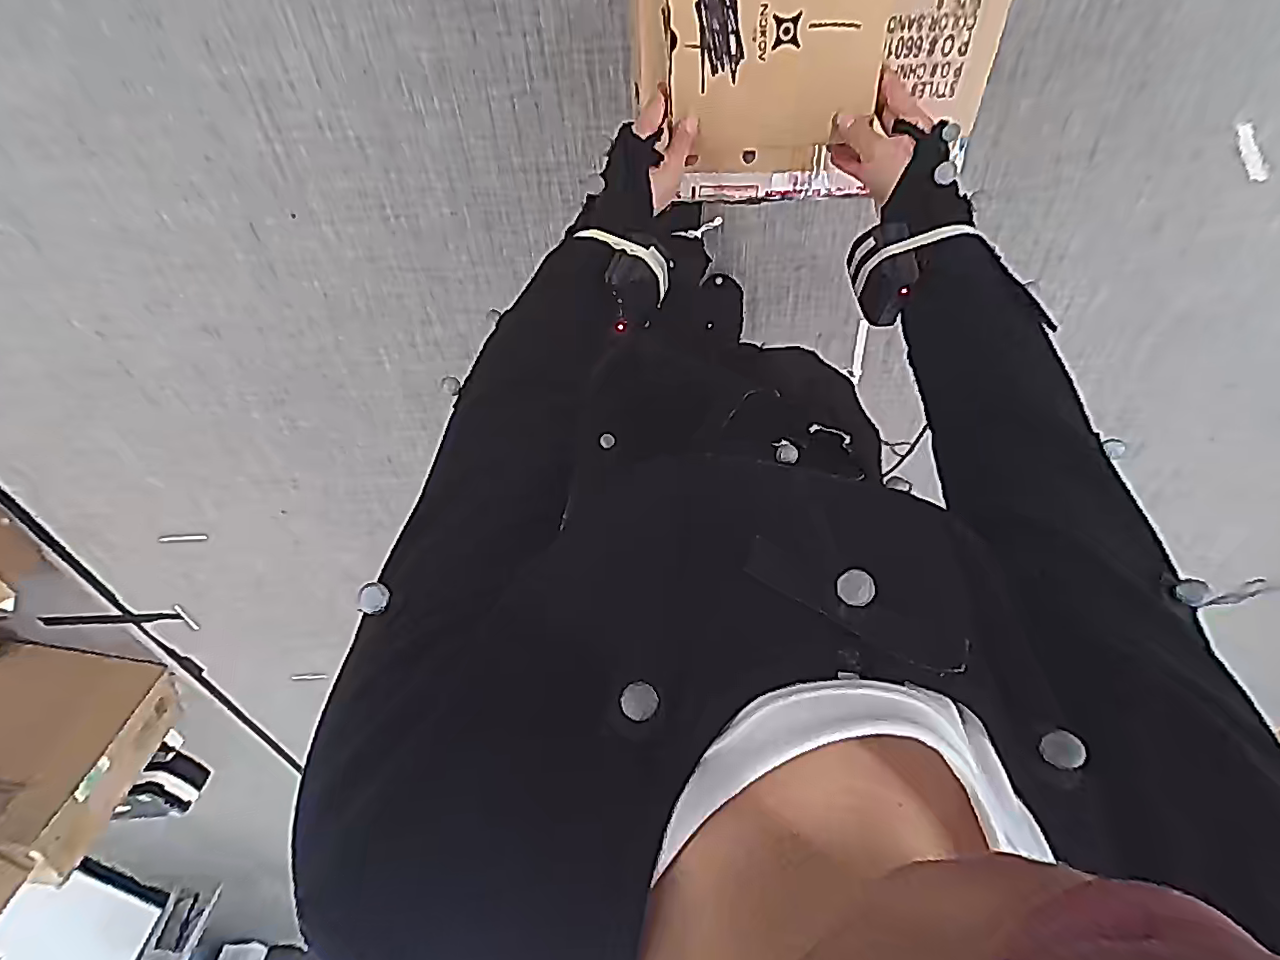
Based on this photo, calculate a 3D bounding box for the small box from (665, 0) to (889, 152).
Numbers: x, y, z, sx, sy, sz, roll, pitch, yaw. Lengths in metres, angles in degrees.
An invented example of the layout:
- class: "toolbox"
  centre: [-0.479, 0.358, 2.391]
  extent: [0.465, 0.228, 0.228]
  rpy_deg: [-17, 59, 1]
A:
- class: "small box"
  centre: [0.113, -0.408, 0.501]
  extent: [0.179, 0.176, 0.168]
  rpy_deg: [-2, 125, 4]
